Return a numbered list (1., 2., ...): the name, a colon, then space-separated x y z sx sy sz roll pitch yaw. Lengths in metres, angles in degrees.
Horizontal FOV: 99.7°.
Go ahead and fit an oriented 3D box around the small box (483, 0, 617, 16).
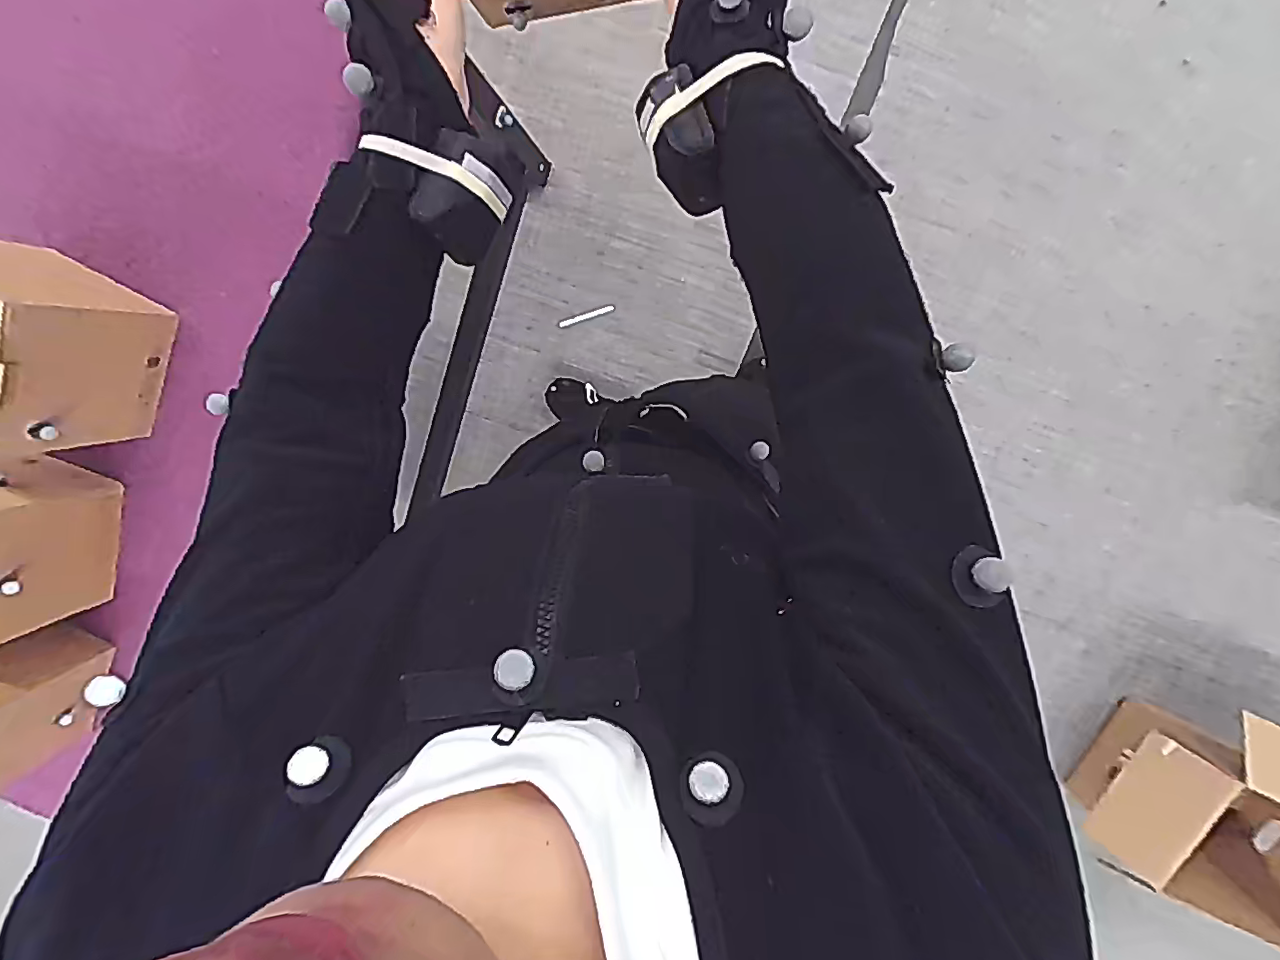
1. small box: -0.063 -0.452 0.360 0.168 0.176 0.179 -7 110 5
